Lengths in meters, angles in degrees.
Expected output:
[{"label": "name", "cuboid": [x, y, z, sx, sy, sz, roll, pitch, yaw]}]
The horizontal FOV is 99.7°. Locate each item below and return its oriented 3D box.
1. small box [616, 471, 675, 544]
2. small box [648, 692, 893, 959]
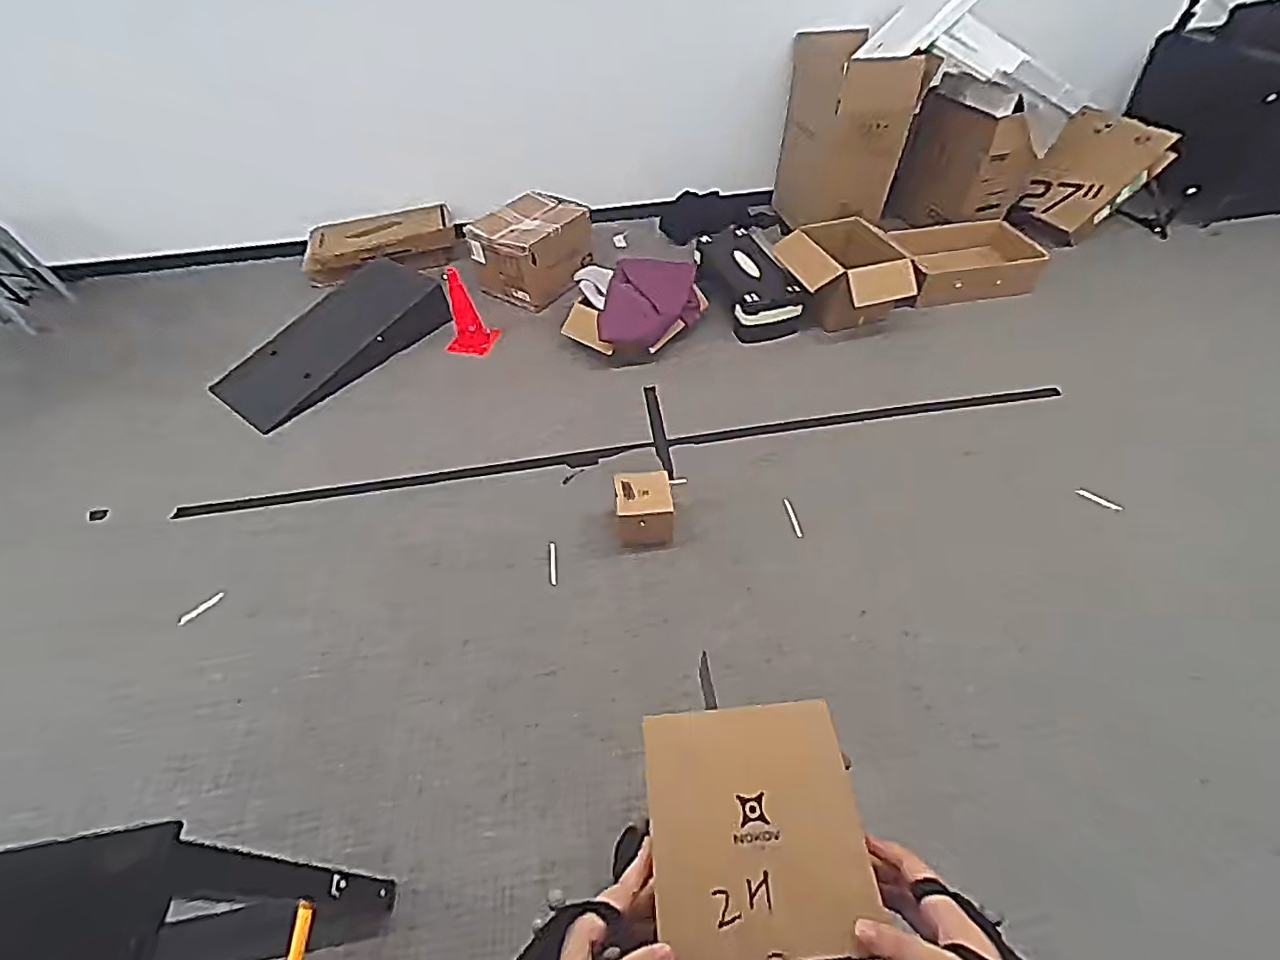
[{"label": "small box", "cuboid": [0.018, 0.092, 1.739, 0.179, 0.176, 0.168, -5, 50, -2]}, {"label": "small box", "cuboid": [0.097, 0.314, 0.494, 0.168, 0.176, 0.179, -6, 52, 1]}]
